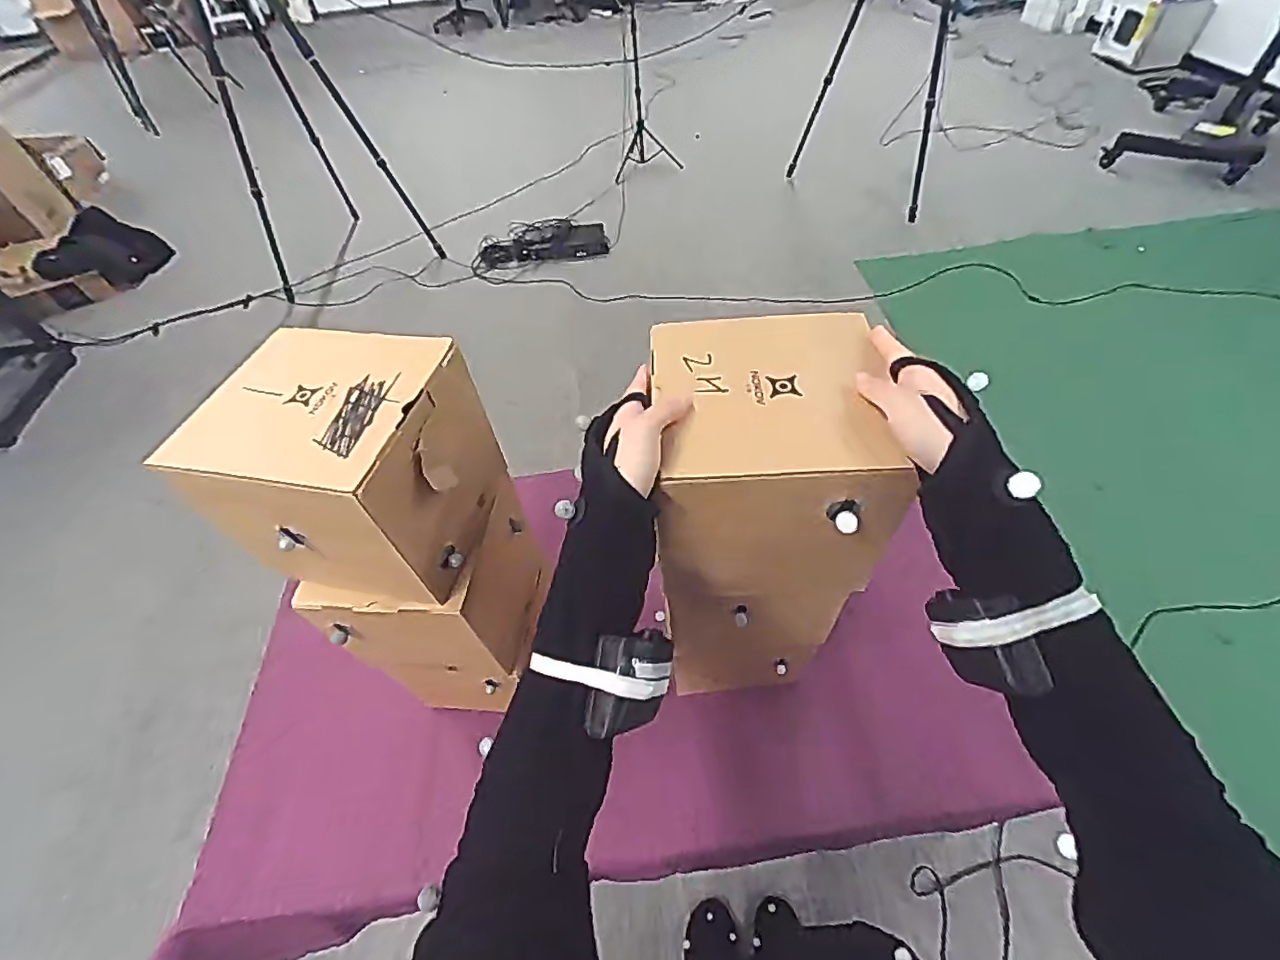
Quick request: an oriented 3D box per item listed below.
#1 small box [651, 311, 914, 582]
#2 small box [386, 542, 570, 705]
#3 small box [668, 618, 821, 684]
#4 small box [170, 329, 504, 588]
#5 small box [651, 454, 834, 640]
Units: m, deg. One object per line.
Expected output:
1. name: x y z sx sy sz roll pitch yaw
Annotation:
1. small box: 0.100 -0.023 0.469 0.179 0.176 0.168 -3 50 3
2. small box: -0.206 0.199 0.745 0.179 0.176 0.168 1 52 6
3. small box: 0.125 0.164 0.737 0.179 0.176 0.168 -7 50 1
4. small box: -0.247 -0.016 0.499 0.179 0.176 0.168 6 51 11
5. small box: 0.110 0.068 0.606 0.179 0.176 0.168 -6 51 2
